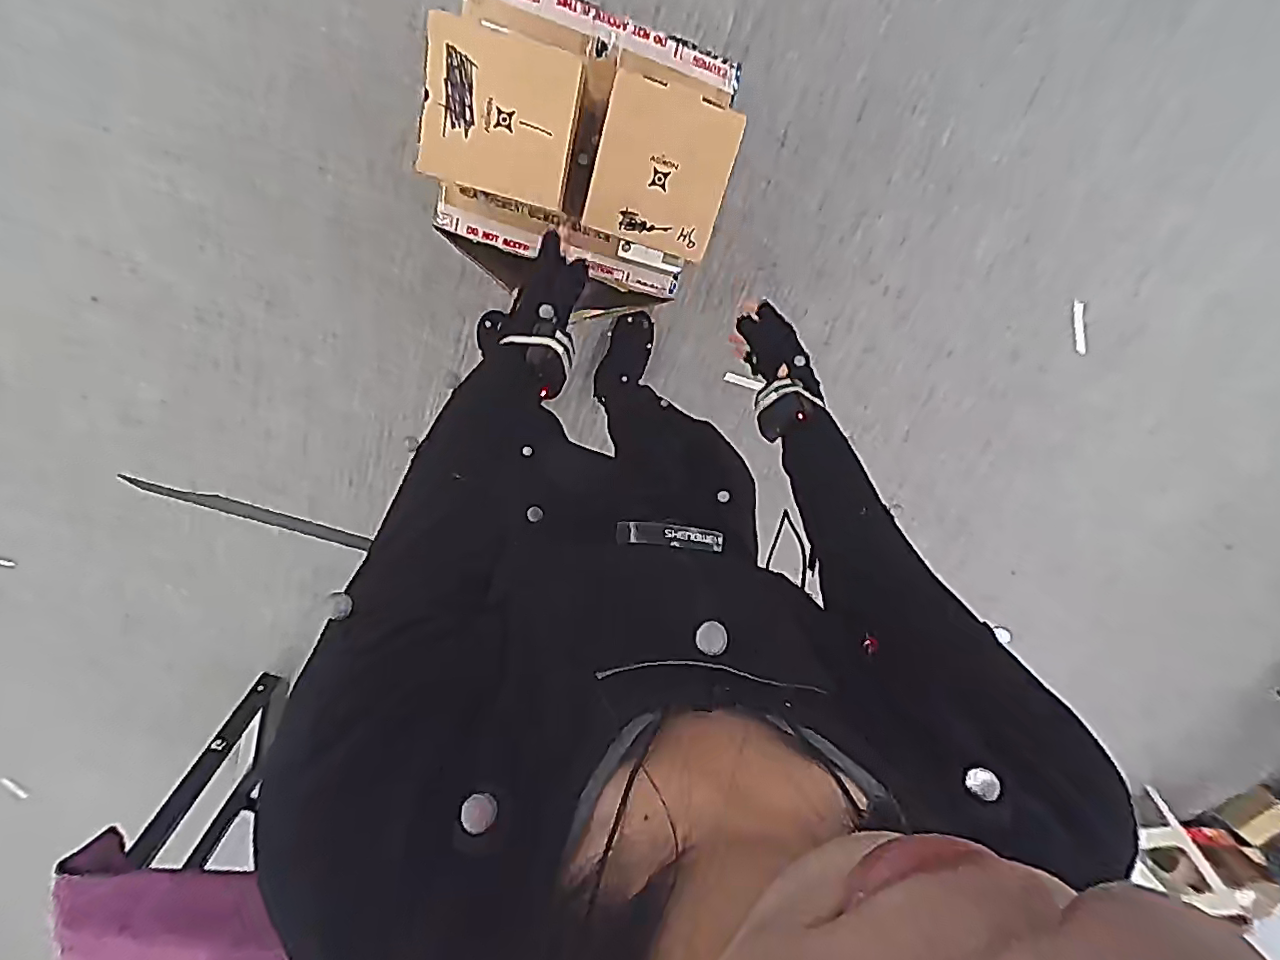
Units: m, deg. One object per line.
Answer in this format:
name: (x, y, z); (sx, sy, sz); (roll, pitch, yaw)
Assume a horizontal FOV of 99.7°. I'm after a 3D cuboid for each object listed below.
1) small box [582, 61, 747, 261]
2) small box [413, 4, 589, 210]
small box: (0.020, -0.415, 0.734); (0.168, 0.176, 0.179); (14, 112, -11)
small box: (-0.170, -0.460, 0.701); (0.179, 0.176, 0.168); (12, 113, -7)
